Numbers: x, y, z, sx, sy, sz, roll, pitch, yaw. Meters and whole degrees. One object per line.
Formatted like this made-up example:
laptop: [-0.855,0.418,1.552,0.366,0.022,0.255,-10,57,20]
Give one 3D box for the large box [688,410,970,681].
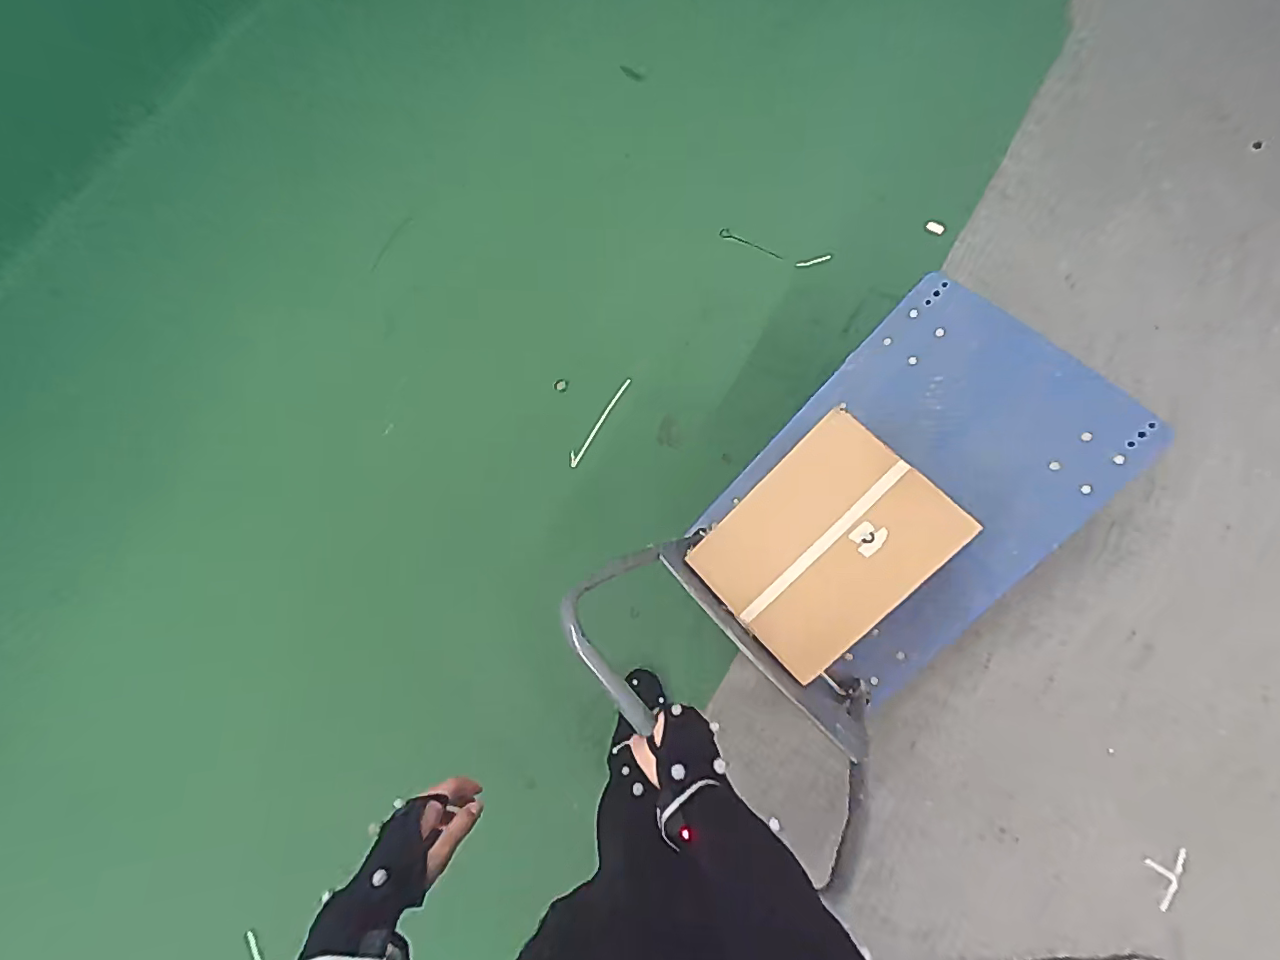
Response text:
large box: [0.370,0.132,1.115,0.408,0.320,0.320,-46,73,10]
